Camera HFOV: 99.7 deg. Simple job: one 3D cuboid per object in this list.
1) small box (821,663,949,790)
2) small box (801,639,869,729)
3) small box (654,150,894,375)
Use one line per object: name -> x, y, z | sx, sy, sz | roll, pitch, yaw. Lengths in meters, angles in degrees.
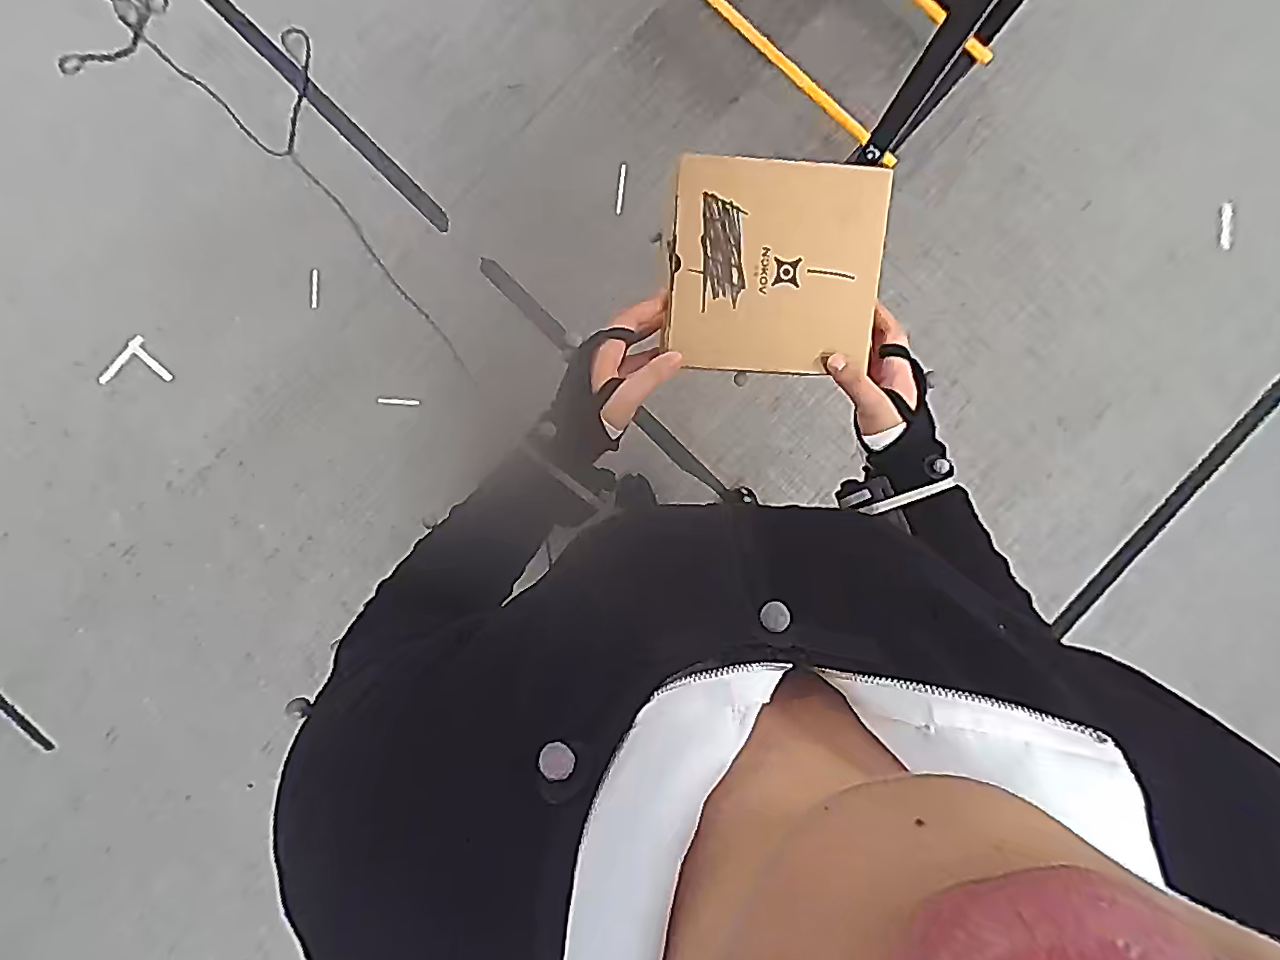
small box -> 0.553, 0.554, 1.245 | 0.179, 0.176, 0.168 | 44, 90, 2
small box -> 0.544, 0.550, 1.408 | 0.168, 0.176, 0.179 | 42, 90, 1
small box -> 0.107, -0.188, 0.515 | 0.179, 0.176, 0.168 | 2, 102, -3
